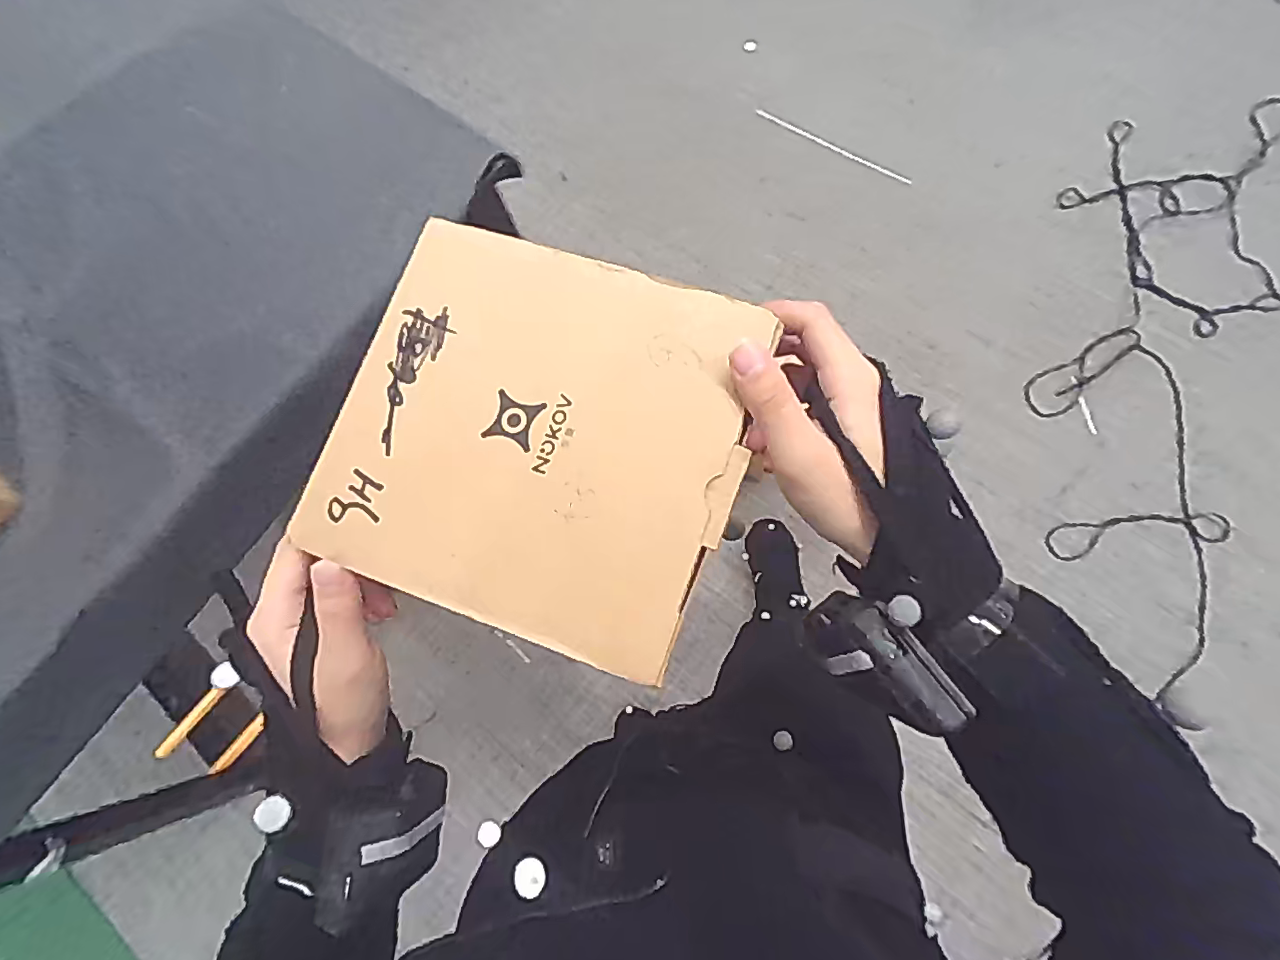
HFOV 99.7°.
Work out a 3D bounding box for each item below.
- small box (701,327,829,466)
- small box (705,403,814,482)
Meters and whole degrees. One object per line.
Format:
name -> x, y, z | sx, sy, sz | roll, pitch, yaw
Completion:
small box -> 0.235, -0.153, 1.051 | 0.168, 0.176, 0.179 | 36, 81, 14
small box -> 0.257, -0.123, 1.211 | 0.168, 0.176, 0.179 | 38, 82, 15
